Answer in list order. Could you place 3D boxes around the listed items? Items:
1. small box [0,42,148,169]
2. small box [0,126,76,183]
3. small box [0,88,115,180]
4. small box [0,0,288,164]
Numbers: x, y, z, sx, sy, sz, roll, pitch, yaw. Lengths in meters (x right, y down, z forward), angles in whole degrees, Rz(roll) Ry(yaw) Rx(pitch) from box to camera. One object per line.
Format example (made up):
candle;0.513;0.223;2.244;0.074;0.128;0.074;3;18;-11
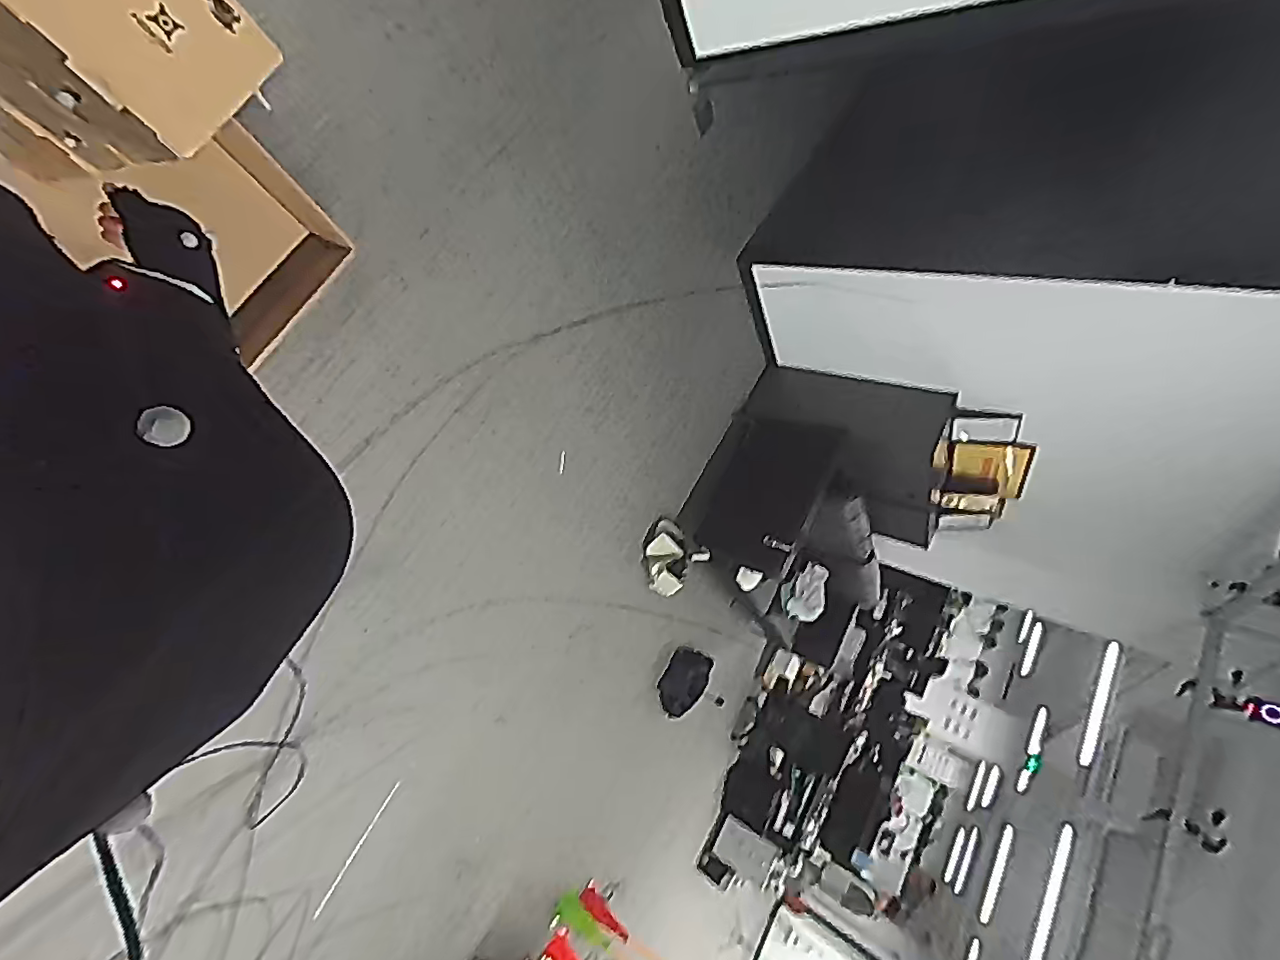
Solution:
small box;-0.673;-0.514;0.671;0.179;0.176;0.168;-61;147;-15
small box;-0.936;-0.595;0.846;0.179;0.176;0.168;-59;145;-17
small box;-0.805;-0.552;0.759;0.179;0.176;0.168;-60;146;-16
small box;-0.540;-0.471;0.584;0.179;0.176;0.168;-60;147;-15
